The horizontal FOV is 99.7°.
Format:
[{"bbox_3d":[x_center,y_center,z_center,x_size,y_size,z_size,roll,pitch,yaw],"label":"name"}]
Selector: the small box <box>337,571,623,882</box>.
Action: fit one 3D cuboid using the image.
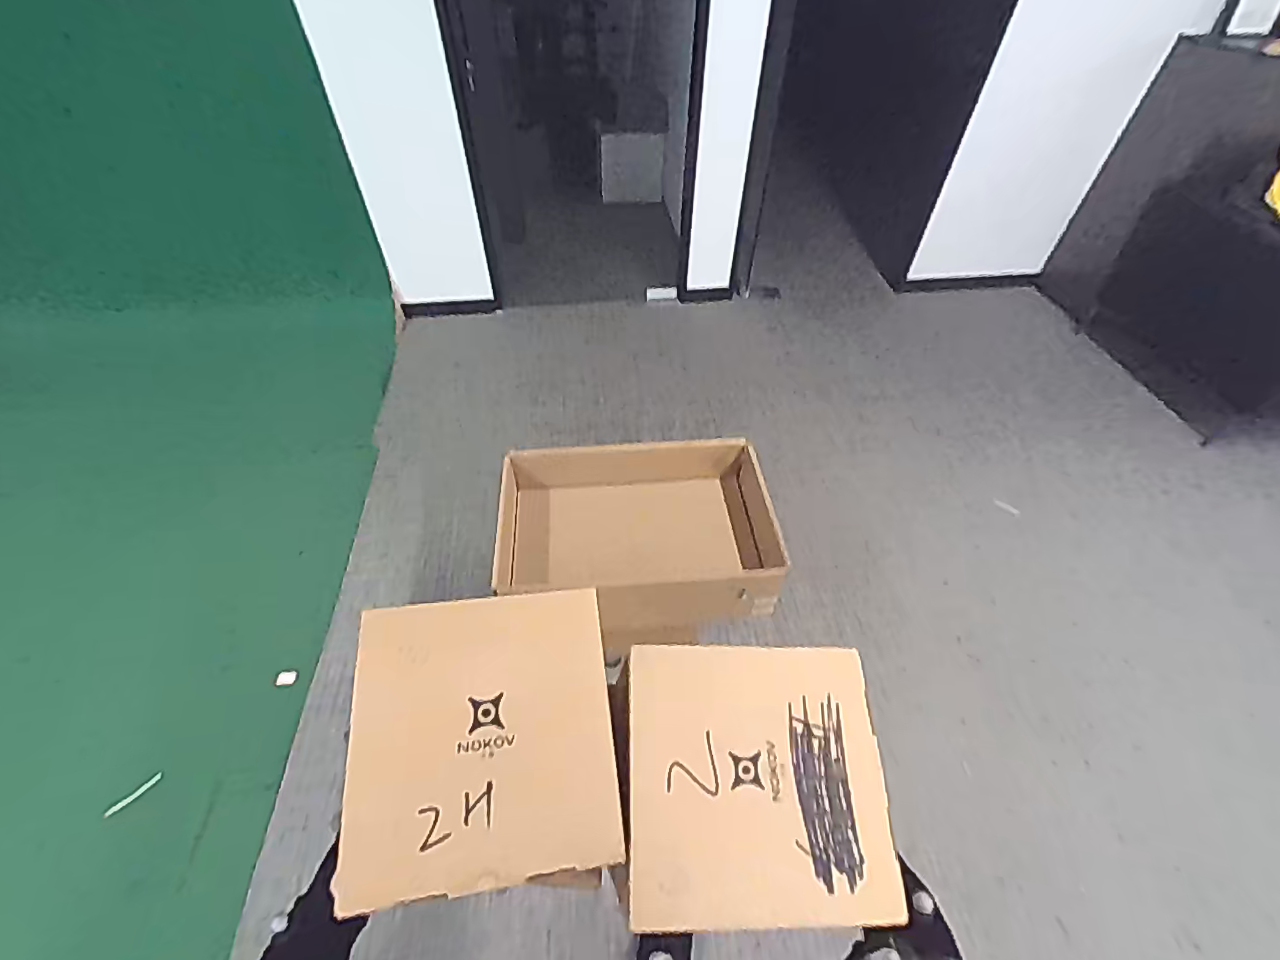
[{"bbox_3d":[-0.112,0.187,0.425,0.168,0.176,0.179,-3,61,-10],"label":"small box"}]
